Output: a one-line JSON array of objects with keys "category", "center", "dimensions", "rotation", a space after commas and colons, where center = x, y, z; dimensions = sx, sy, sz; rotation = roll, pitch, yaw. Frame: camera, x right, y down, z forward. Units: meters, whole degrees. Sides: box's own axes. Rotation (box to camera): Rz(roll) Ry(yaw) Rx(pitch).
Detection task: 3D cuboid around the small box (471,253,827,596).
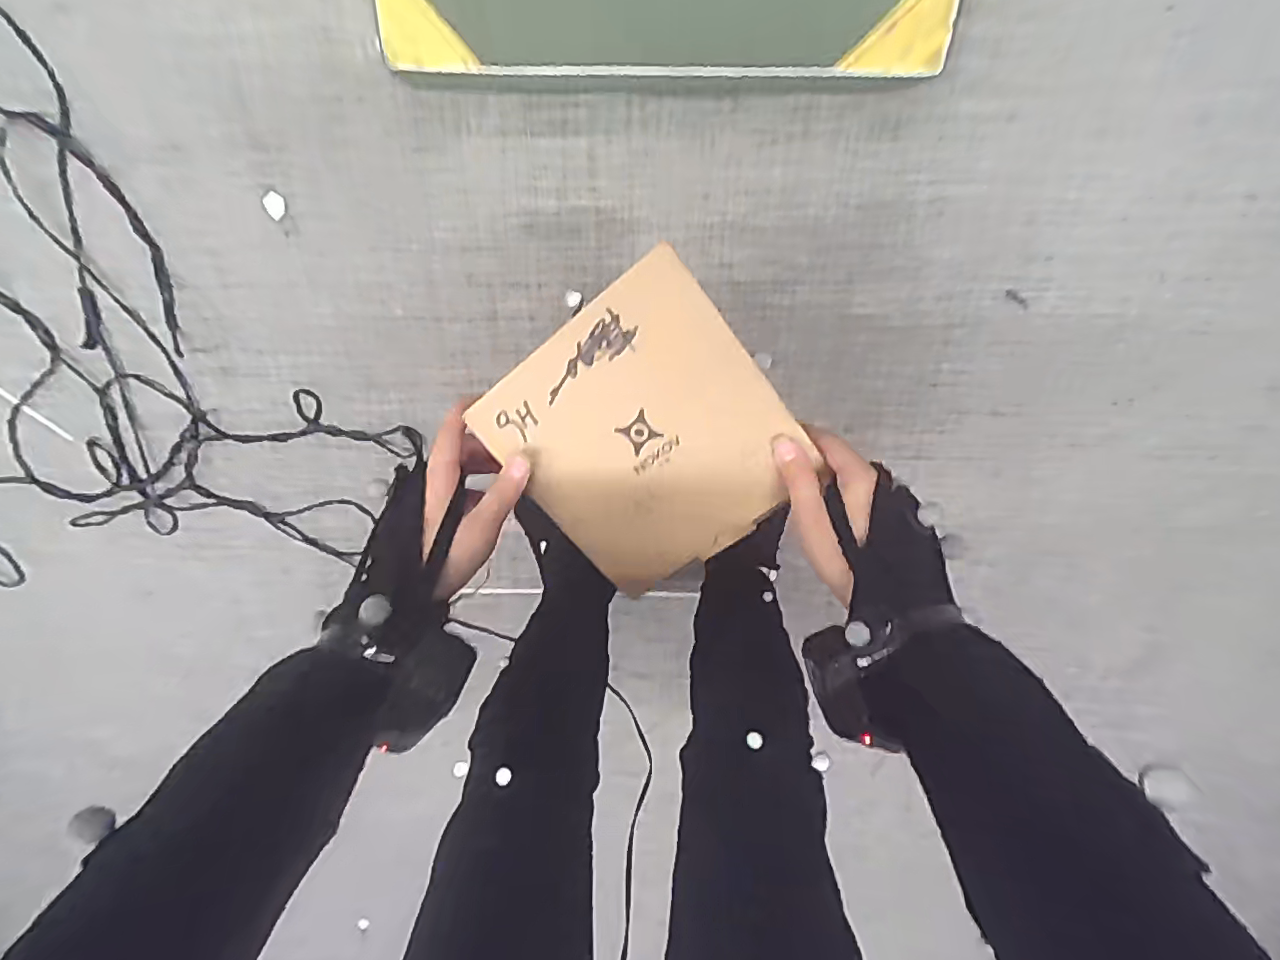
[{"category": "small box", "center": [0.011, -0.052, 0.420], "dimensions": [0.168, 0.176, 0.179], "rotation": [-37, 105, 15]}]
